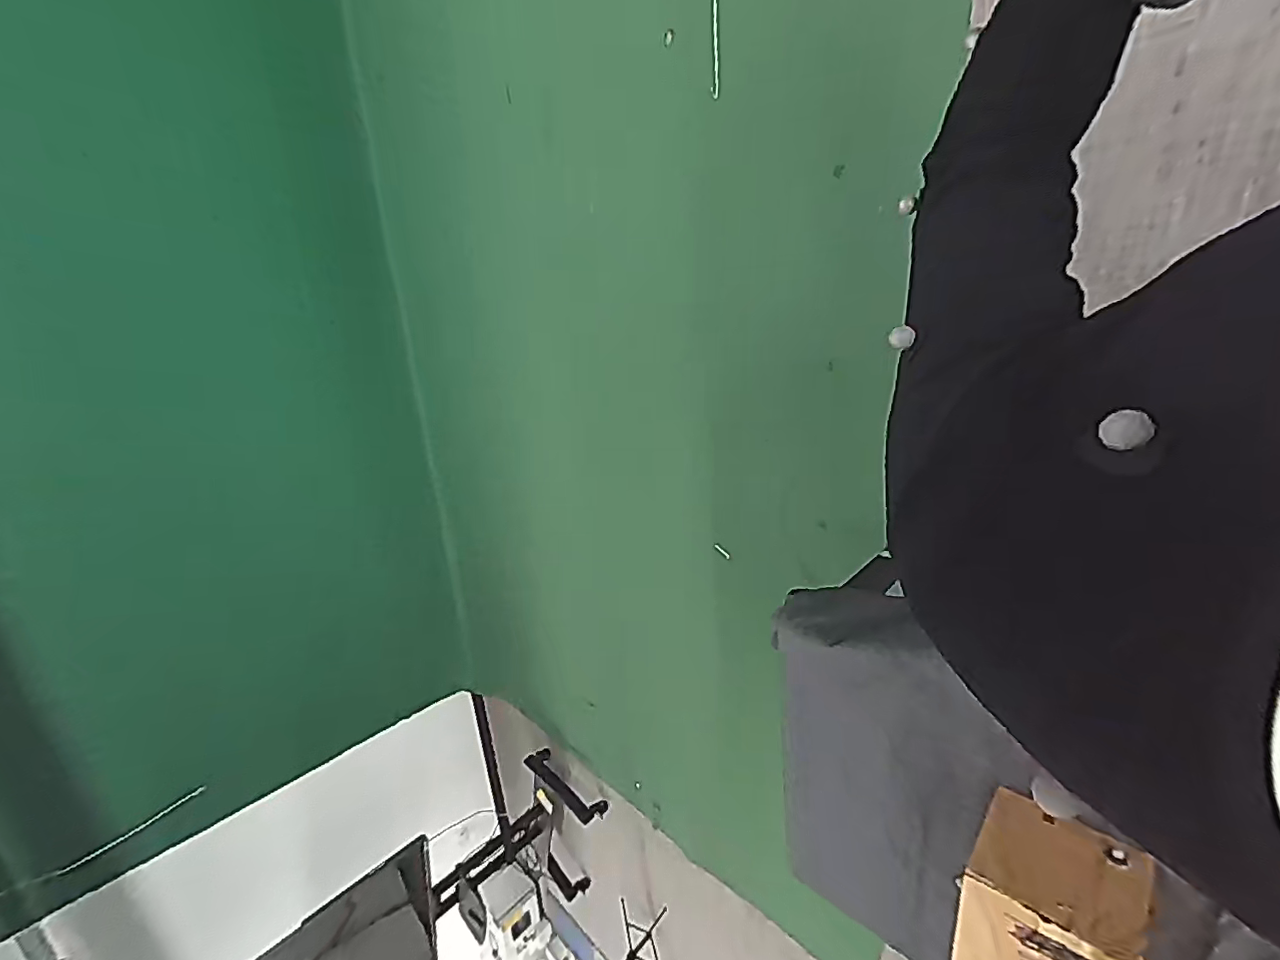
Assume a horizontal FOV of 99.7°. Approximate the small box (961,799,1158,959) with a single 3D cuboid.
[{"bbox_3d":[0.528,0.556,0.684,0.168,0.176,0.179,12,115,43],"label":"small box"}]
